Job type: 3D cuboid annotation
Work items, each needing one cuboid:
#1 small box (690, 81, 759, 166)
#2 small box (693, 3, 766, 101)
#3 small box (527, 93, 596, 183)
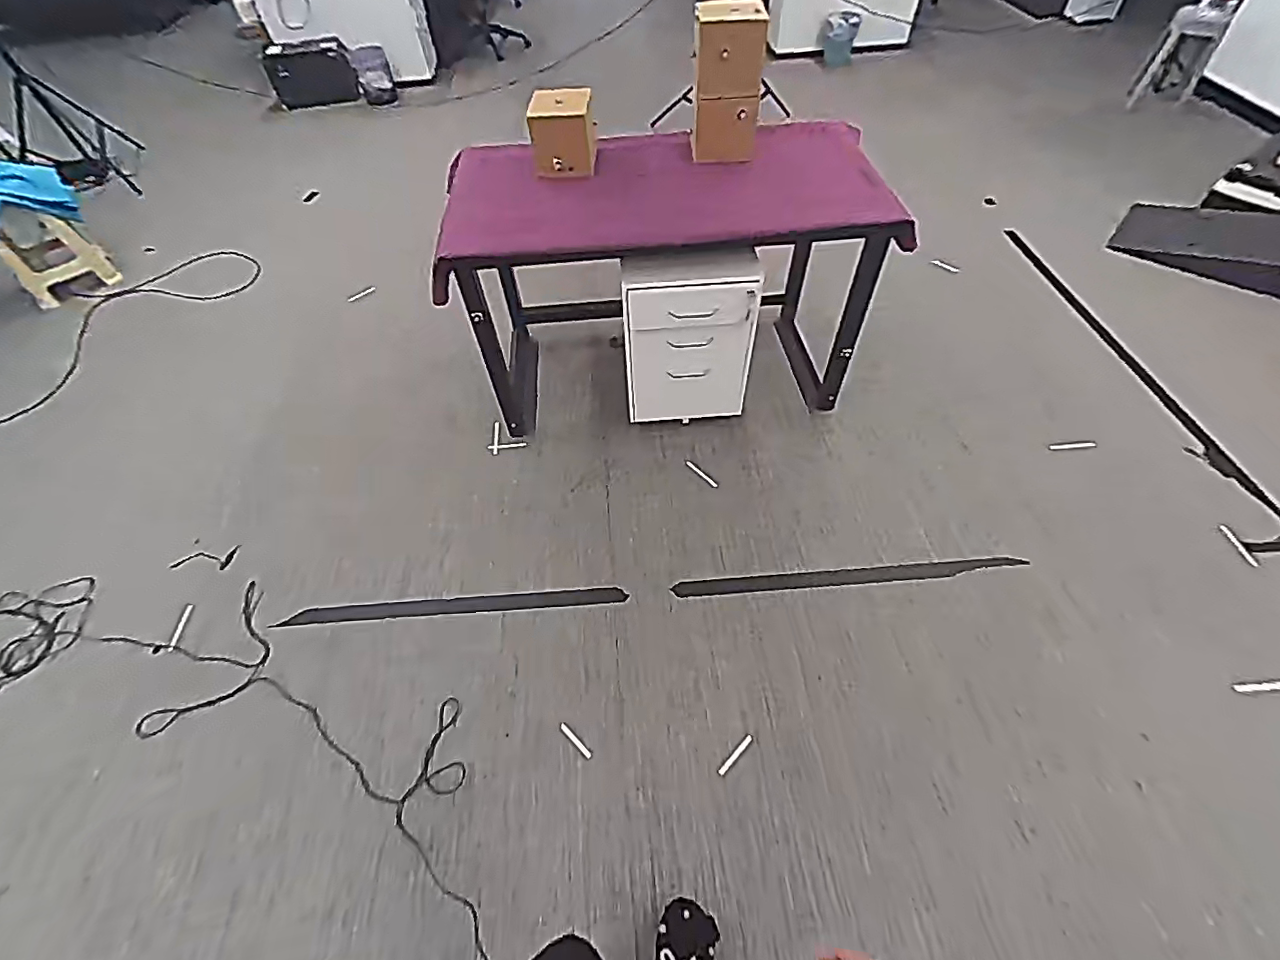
[{"bbox_3d":[0.241,-1.047,1.585,0.179,0.176,0.168,-2,54,2],"label":"small box"},{"bbox_3d":[0.233,-1.145,1.453,0.179,0.176,0.168,-2,55,3],"label":"small box"},{"bbox_3d":[-0.220,-0.991,1.568,0.168,0.176,0.179,-1,56,3],"label":"small box"}]
